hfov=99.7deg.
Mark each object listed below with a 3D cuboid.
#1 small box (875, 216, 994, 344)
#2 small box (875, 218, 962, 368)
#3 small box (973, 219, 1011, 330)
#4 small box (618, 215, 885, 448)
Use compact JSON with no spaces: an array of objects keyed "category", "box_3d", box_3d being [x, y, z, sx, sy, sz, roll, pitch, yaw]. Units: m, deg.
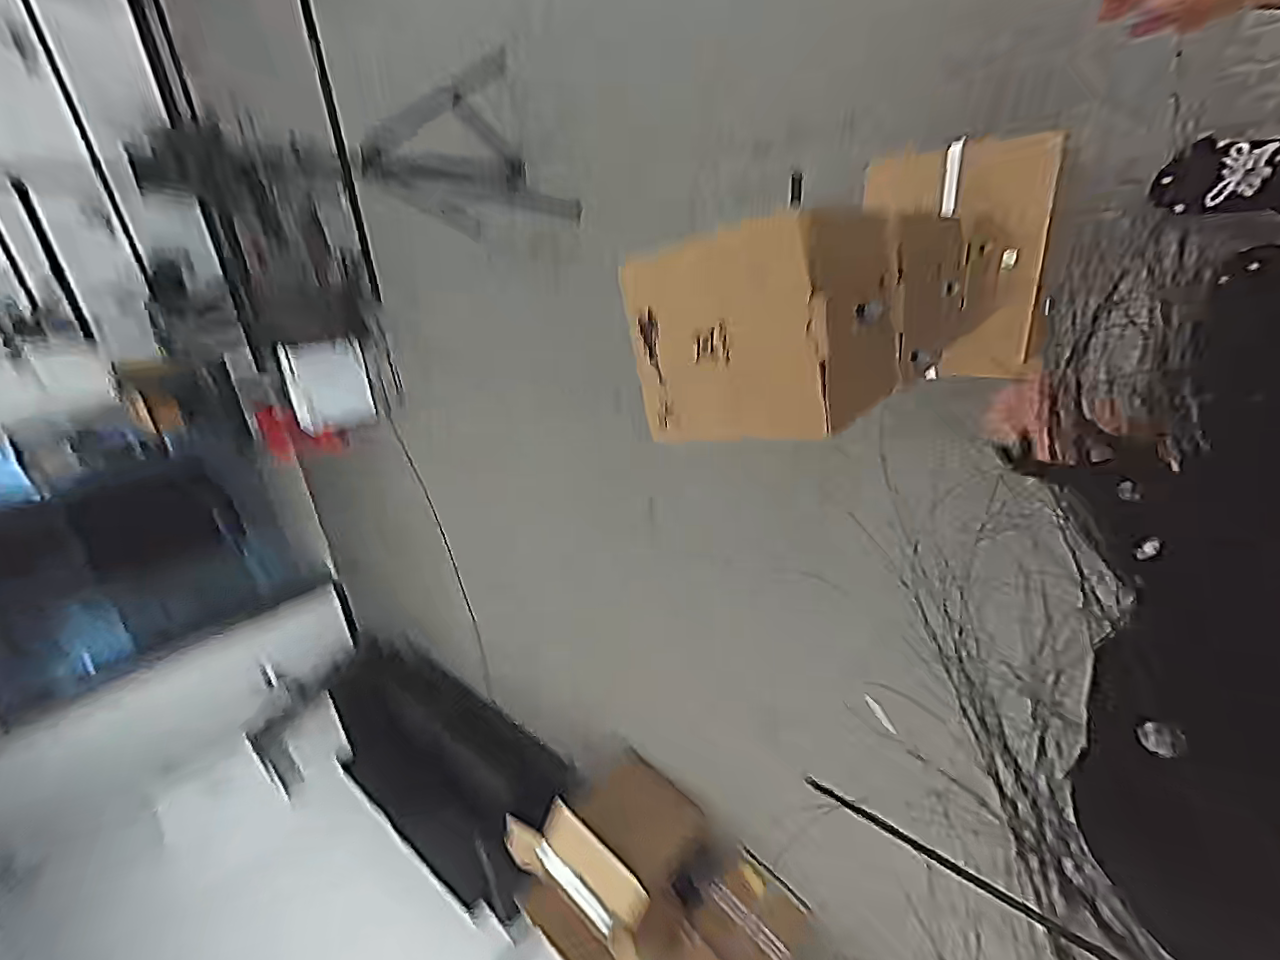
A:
[{"category":"small box","box_3d":[0.425,-0.306,0.833,0.179,0.176,0.168,11,117,40]},{"category":"small box","box_3d":[0.318,-0.246,0.723,0.179,0.176,0.168,6,113,40]},{"category":"small box","box_3d":[0.524,-0.359,0.949,0.179,0.176,0.168,12,119,38]},{"category":"small box","box_3d":[0.112,-0.132,0.494,0.179,0.176,0.168,1,110,41]}]
